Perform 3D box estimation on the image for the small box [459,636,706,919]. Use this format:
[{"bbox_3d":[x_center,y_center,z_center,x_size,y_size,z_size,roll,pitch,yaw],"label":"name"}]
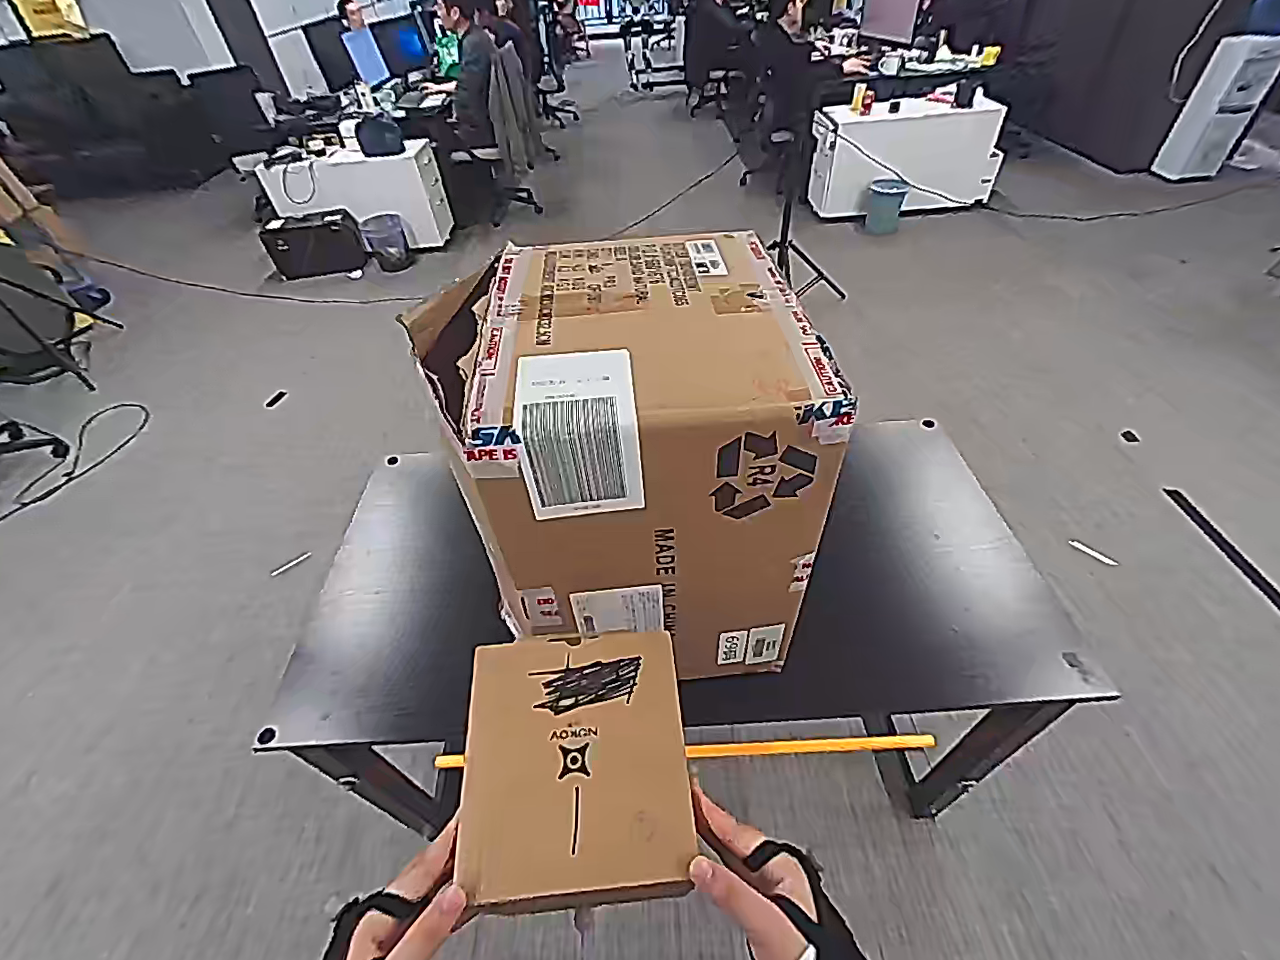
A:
[{"bbox_3d":[-0.044,0.257,0.467,0.168,0.176,0.179,-4,50,-3],"label":"small box"}]
